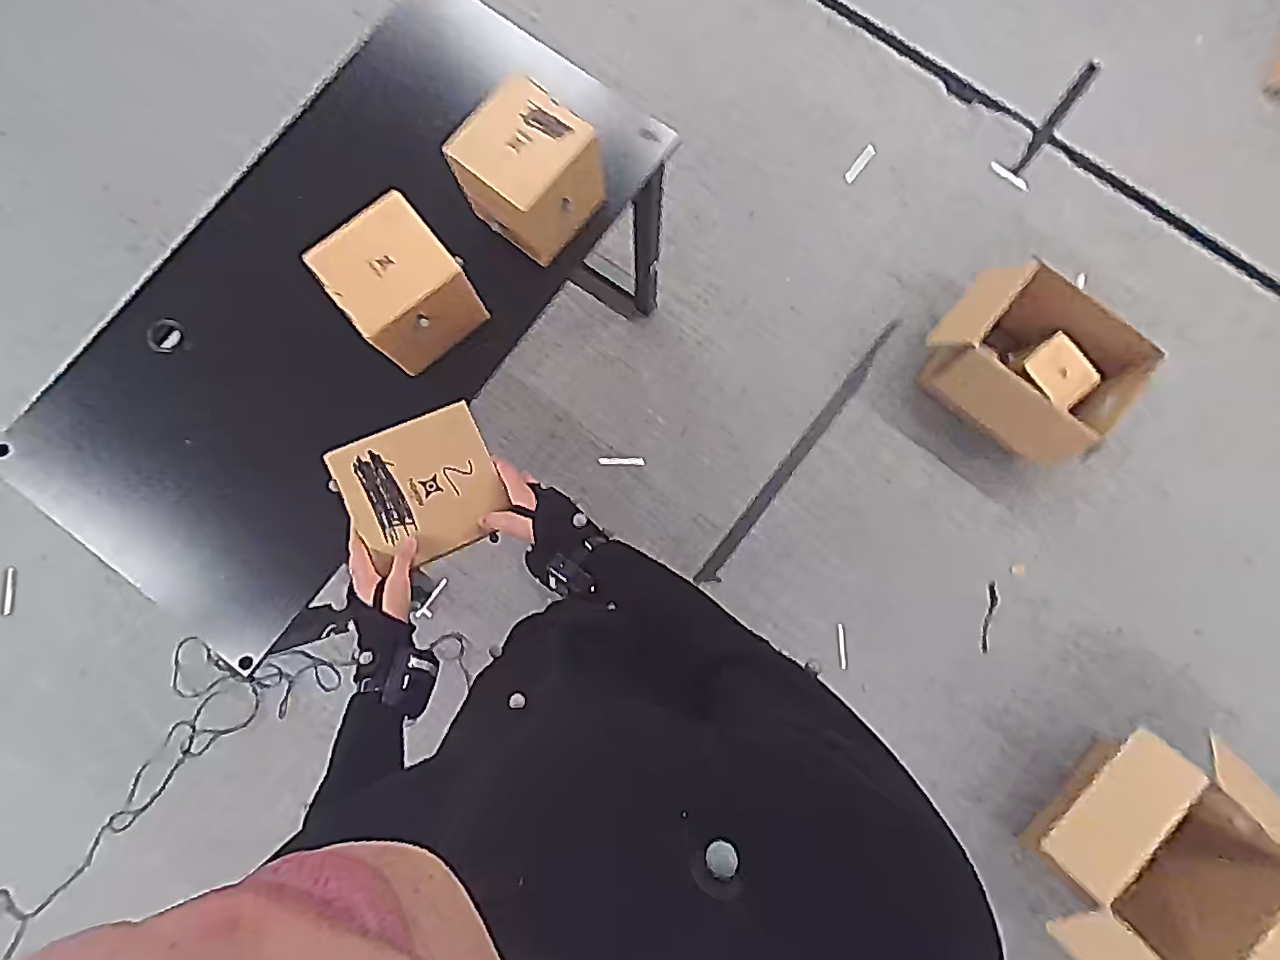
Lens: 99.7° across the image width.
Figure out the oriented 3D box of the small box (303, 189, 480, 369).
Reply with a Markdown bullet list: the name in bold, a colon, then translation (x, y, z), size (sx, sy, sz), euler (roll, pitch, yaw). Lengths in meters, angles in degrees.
- **small box**: translation (-0.382, -0.312, 0.874), size (0.179, 0.176, 0.168), euler (-40, 84, -3)

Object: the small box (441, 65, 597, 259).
- **small box**: translation (-0.185, -0.511, 0.893), size (0.168, 0.176, 0.179), euler (38, 86, 5)
